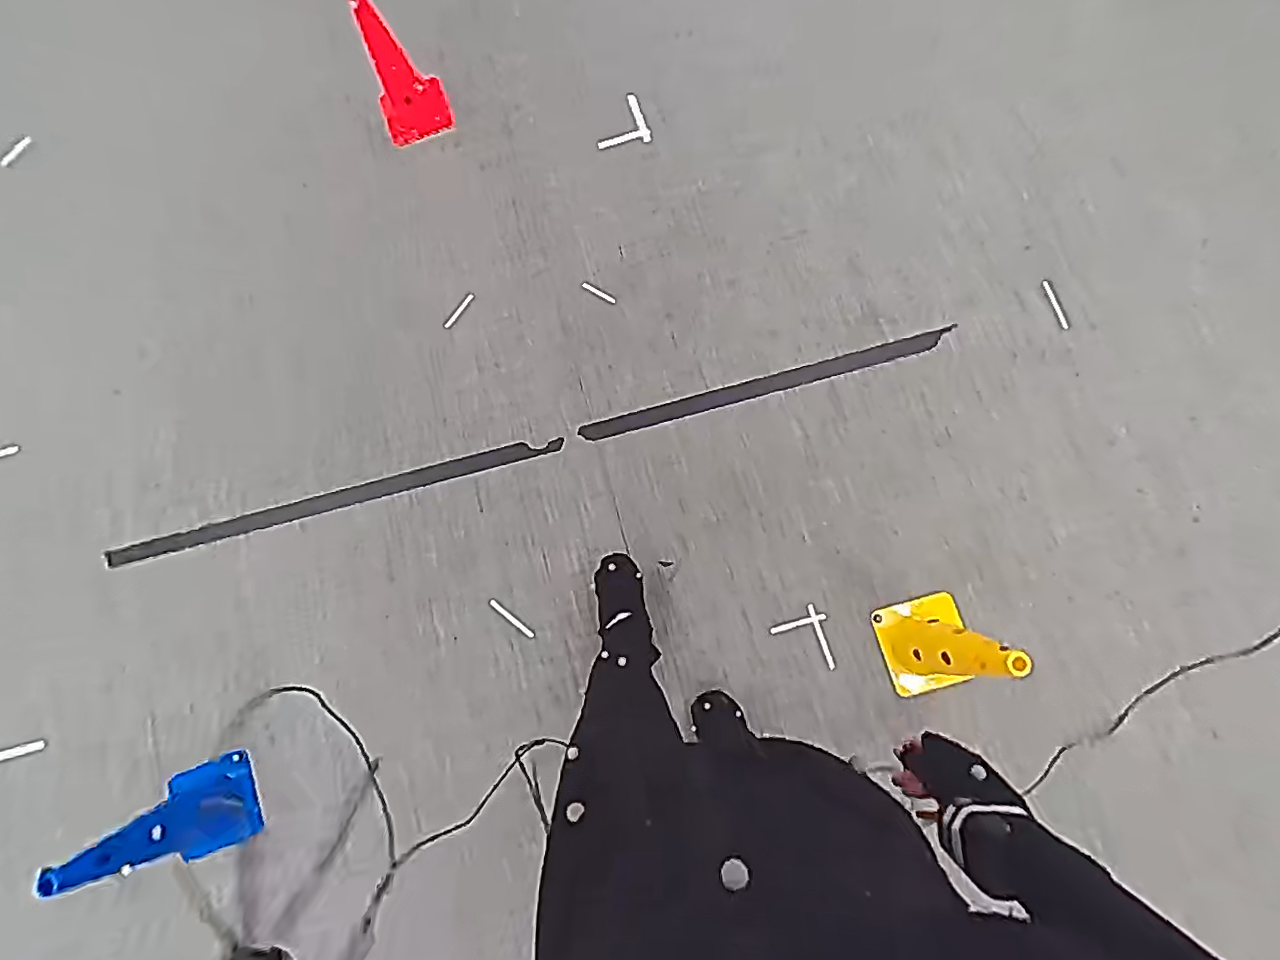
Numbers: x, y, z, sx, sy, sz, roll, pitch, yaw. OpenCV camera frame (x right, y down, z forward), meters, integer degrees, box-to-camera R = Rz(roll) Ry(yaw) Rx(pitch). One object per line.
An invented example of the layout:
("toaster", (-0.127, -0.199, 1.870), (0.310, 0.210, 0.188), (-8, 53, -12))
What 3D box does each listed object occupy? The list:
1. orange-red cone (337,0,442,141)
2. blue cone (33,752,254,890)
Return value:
("orange-red cone", (-0.723, -1.165, 1.476), (0.199, 0.360, 0.198), (-21, 78, 0))
("blue cone", (-1.021, 0.736, 1.115), (0.193, 0.380, 0.192), (-21, 78, -1))
